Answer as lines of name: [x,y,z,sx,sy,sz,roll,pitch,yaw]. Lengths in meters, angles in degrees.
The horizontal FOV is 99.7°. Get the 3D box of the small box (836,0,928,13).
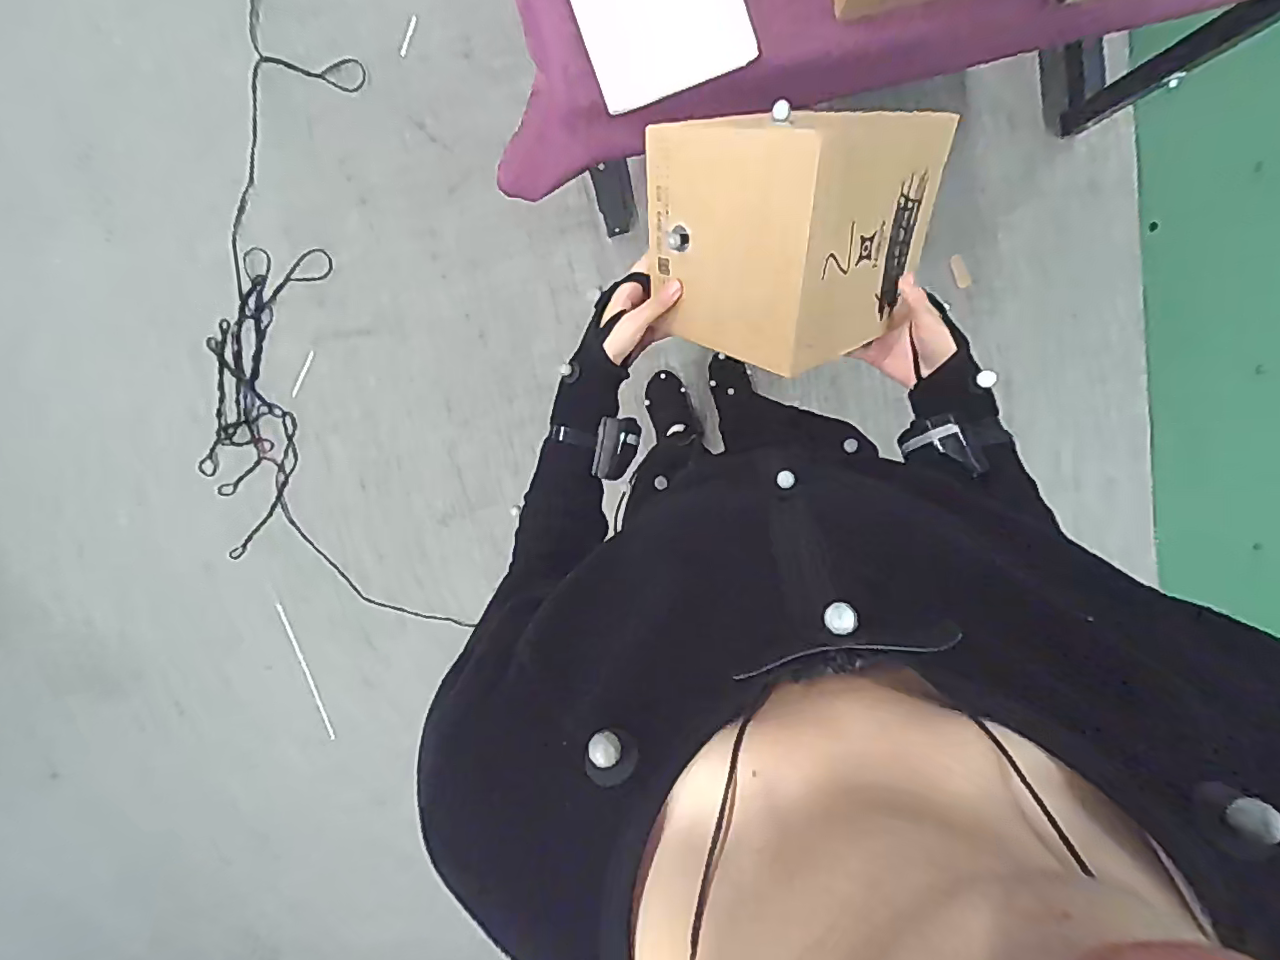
small box: [0.300,-0.636,0.561,0.168,0.176,0.179,-11,99,3]

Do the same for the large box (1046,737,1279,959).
large box: [1.470,1.005,1.502,0.408,0.320,0.320,-27,99,5]
